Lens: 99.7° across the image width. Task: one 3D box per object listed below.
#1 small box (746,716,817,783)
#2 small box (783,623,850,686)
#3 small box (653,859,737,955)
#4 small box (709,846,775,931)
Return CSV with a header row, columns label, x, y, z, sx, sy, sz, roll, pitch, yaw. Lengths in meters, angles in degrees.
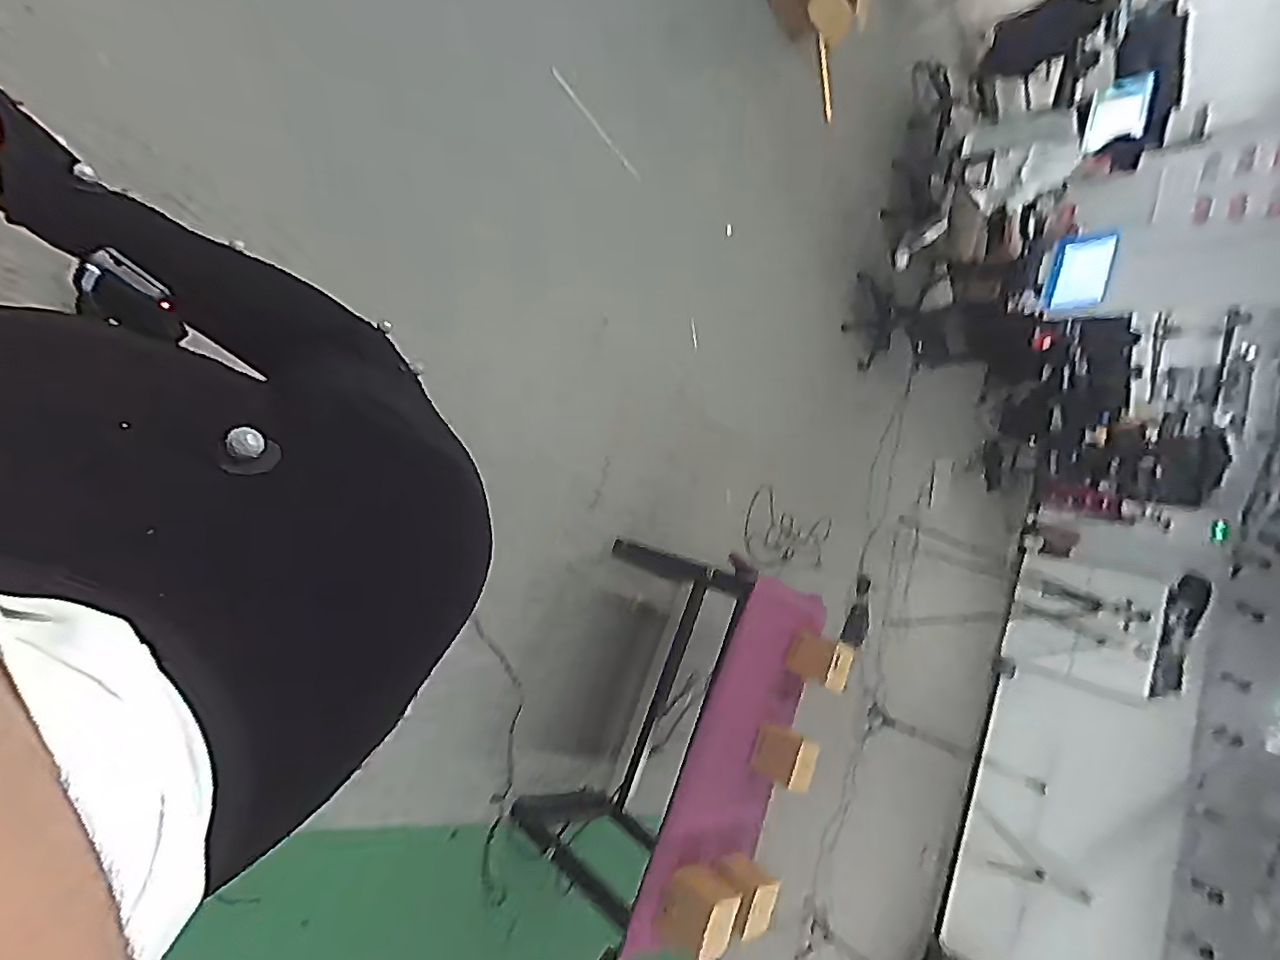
label,x,y,z,sx,sy,sz,roll,pitch,yaw
small box,0.518,0.986,1.985,0.179,0.176,0.168,33,74,-44
small box,0.675,0.666,2.076,0.179,0.176,0.168,35,74,-43
small box,0.171,1.319,1.687,0.179,0.176,0.168,35,72,-45
small box,0.340,1.413,1.885,0.179,0.176,0.168,32,74,-45
